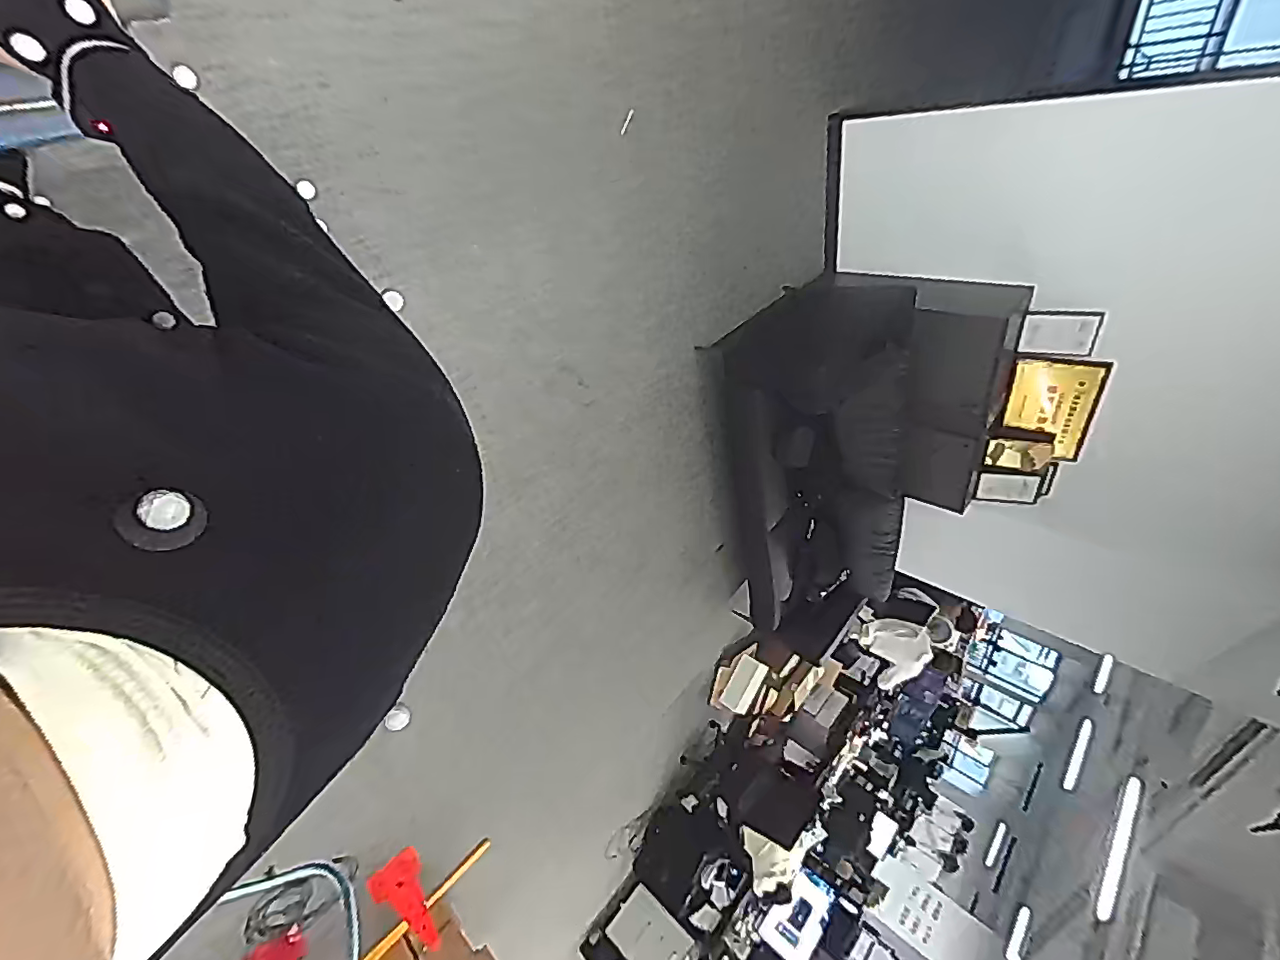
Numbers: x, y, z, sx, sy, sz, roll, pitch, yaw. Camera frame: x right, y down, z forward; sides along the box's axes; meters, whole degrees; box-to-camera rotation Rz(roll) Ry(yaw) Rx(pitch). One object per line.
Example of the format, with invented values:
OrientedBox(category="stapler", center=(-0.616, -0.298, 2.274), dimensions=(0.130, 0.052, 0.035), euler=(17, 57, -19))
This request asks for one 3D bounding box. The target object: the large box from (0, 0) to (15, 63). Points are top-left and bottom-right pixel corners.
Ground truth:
OrientedBox(category="large box", center=(-1.025, -0.701, 0.579), dimensions=(0.320, 0.320, 0.408), euler=(-37, 133, -33))
